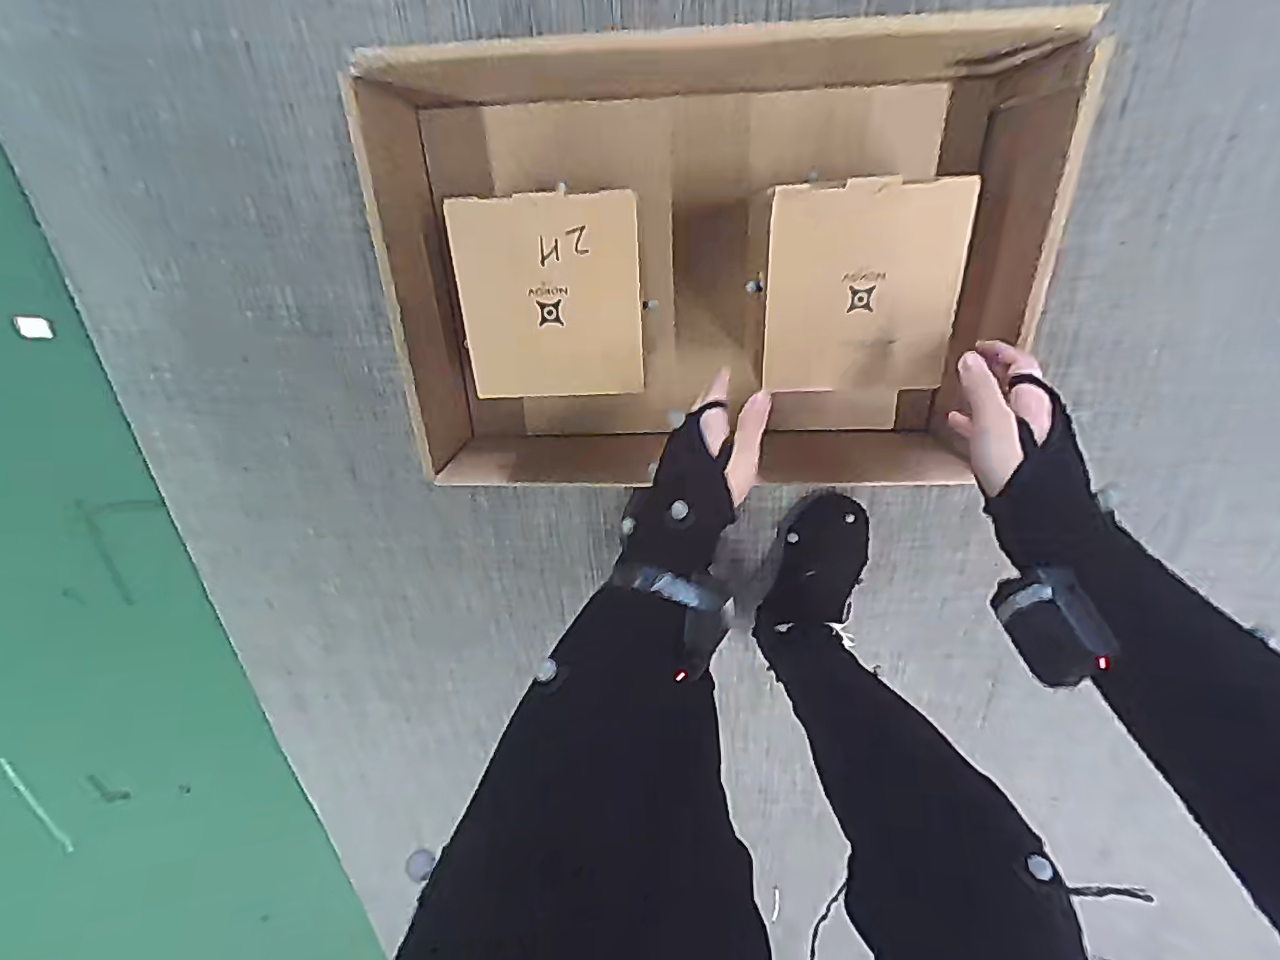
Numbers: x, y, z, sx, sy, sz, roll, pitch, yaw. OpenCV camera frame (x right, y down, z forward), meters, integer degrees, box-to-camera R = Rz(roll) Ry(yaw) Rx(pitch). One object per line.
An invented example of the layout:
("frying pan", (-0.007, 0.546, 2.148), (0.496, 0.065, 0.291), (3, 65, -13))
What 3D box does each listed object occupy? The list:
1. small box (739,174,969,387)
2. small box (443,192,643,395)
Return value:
("small box", (0.193, -0.200, 0.548), (0.168, 0.176, 0.179), (0, 115, 4))
("small box", (-0.082, -0.196, 0.563), (0.168, 0.176, 0.179), (-1, 114, 2))
